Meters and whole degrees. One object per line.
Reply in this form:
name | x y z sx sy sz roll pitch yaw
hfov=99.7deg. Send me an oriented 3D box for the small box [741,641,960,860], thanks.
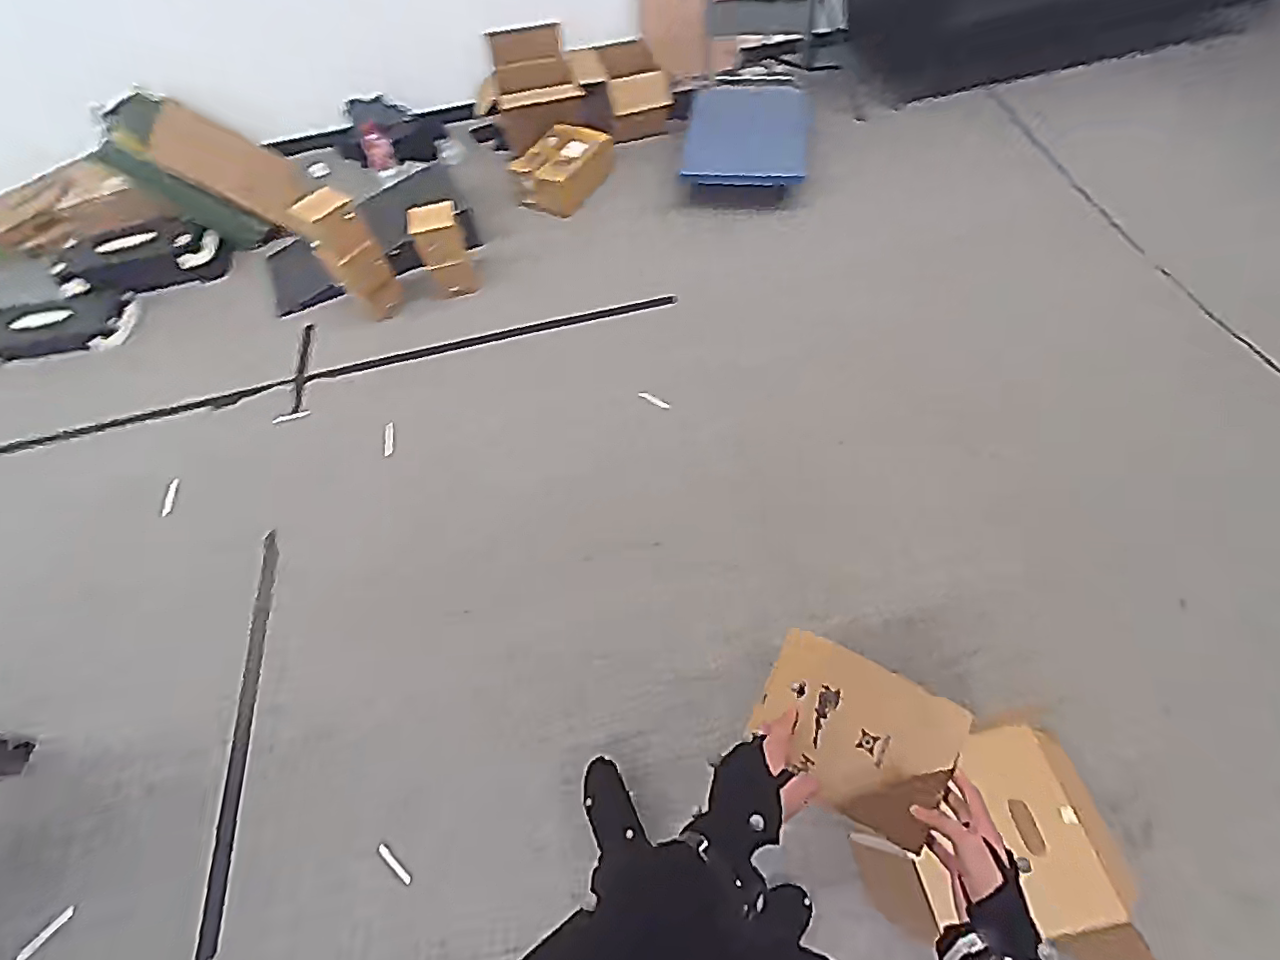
small box | 0.249 0.319 0.682 0.179 0.176 0.168 26 81 4
